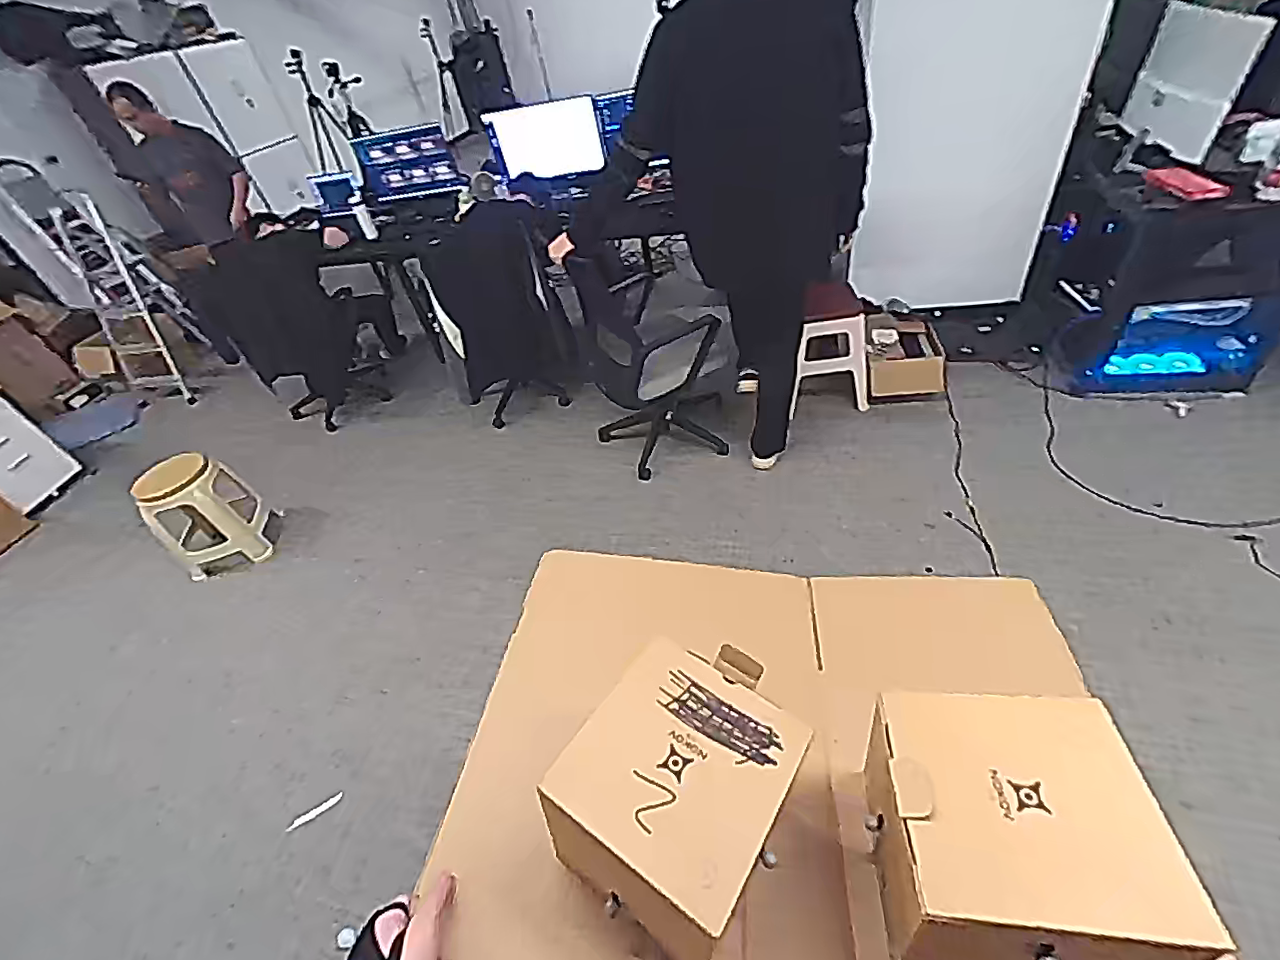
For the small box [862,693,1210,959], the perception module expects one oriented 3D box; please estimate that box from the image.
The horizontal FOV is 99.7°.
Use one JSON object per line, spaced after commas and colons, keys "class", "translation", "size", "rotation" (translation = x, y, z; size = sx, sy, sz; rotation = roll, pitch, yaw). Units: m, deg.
{"class": "small box", "translation": [0.303, 0.308, 0.468], "size": [0.179, 0.176, 0.168], "rotation": [-3, 38, 13]}
